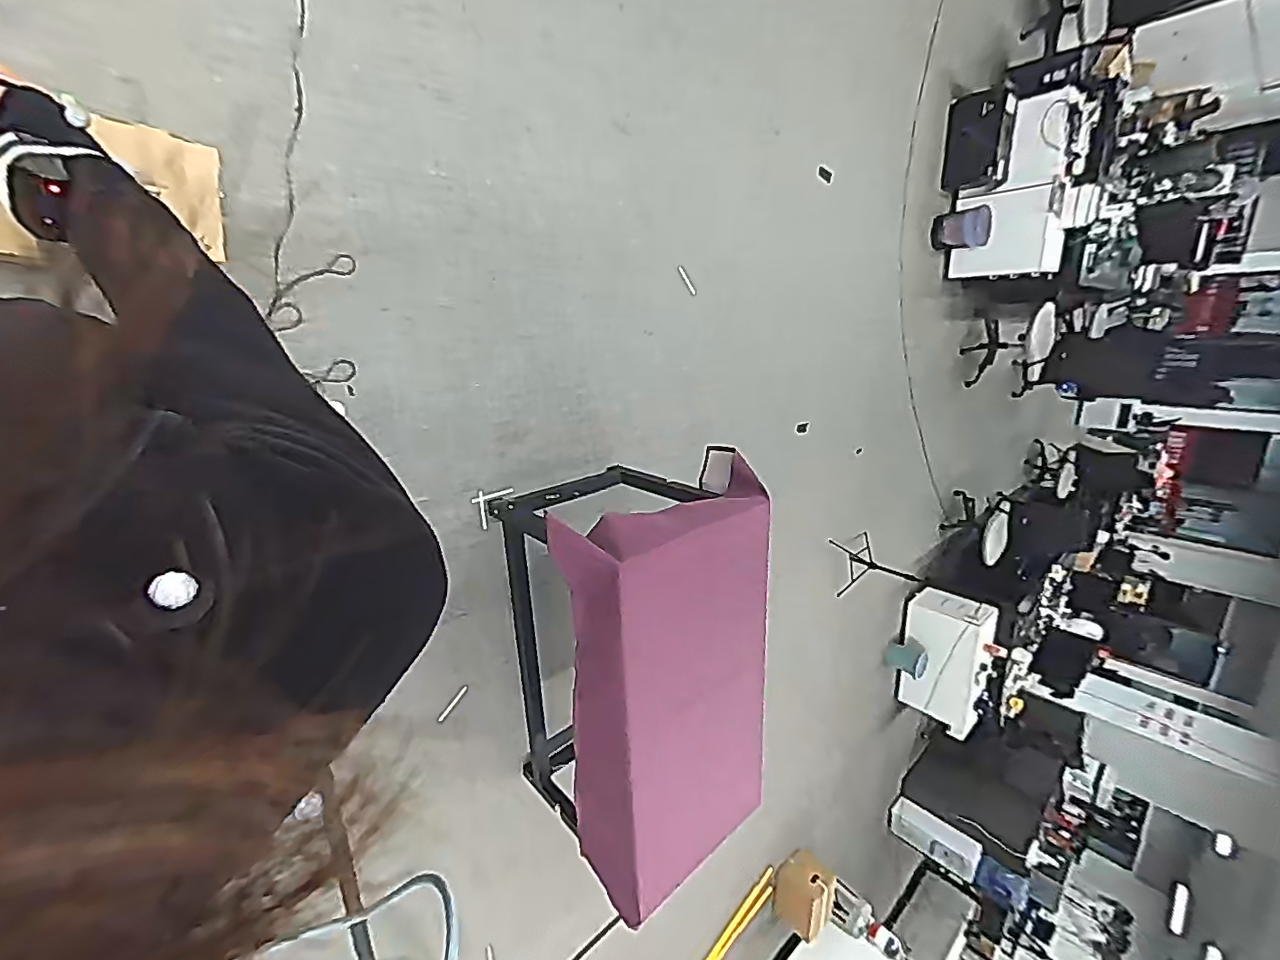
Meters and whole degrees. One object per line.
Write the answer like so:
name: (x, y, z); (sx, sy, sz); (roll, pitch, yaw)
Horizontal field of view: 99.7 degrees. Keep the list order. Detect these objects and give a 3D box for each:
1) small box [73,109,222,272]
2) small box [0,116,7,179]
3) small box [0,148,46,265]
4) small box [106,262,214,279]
small box: (-0.792, -0.451, 0.877); (0.168, 0.176, 0.179); (-4, 103, -42)
small box: (-0.707, -0.382, 0.474); (0.179, 0.176, 0.168); (-10, 117, -49)
small box: (-1.190, -0.488, 0.950); (0.168, 0.176, 0.179); (-9, 108, -40)
small box: (-1.007, -0.517, 1.114); (0.168, 0.176, 0.179); (-15, 111, -38)
